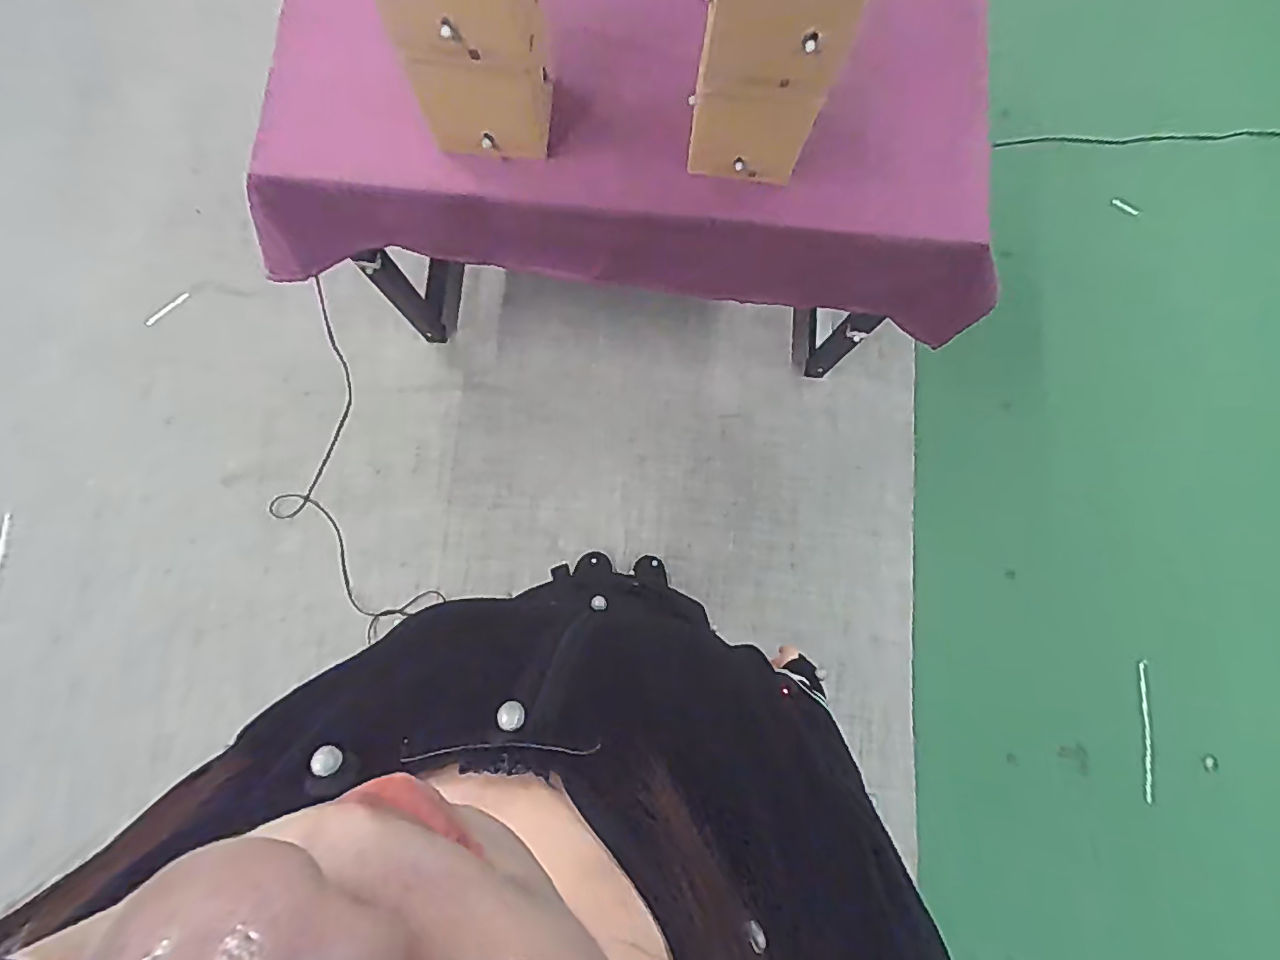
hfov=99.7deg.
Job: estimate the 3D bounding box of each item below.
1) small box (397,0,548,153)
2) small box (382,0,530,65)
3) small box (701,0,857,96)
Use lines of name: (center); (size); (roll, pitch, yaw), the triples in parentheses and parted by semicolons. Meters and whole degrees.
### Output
small box: (-0.236, -0.626, 0.809); (0.179, 0.176, 0.168); (4, 82, -3)
small box: (-0.228, -0.653, 0.646); (0.168, 0.176, 0.179); (5, 82, -1)
small box: (0.171, -0.615, 0.659); (0.168, 0.176, 0.179); (5, 82, -2)
